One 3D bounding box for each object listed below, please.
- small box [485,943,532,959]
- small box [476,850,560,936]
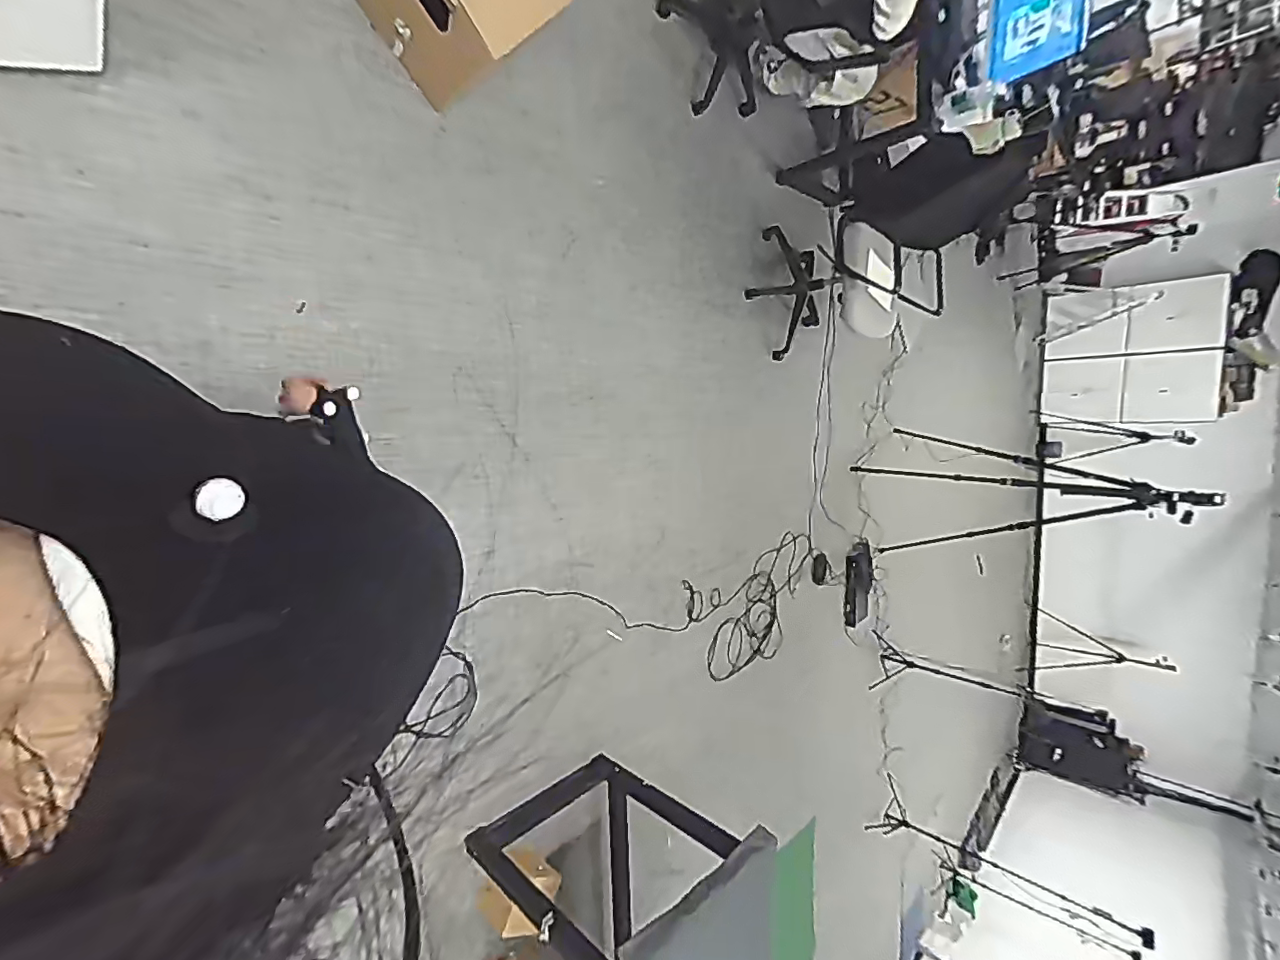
[{"bbox_3d":[-0.425,1.679,1.758,0.168,0.176,0.179,12,83,-46],"label":"small box"},{"bbox_3d":[-0.400,1.339,1.763,0.179,0.176,0.168,37,66,-41],"label":"small box"}]
